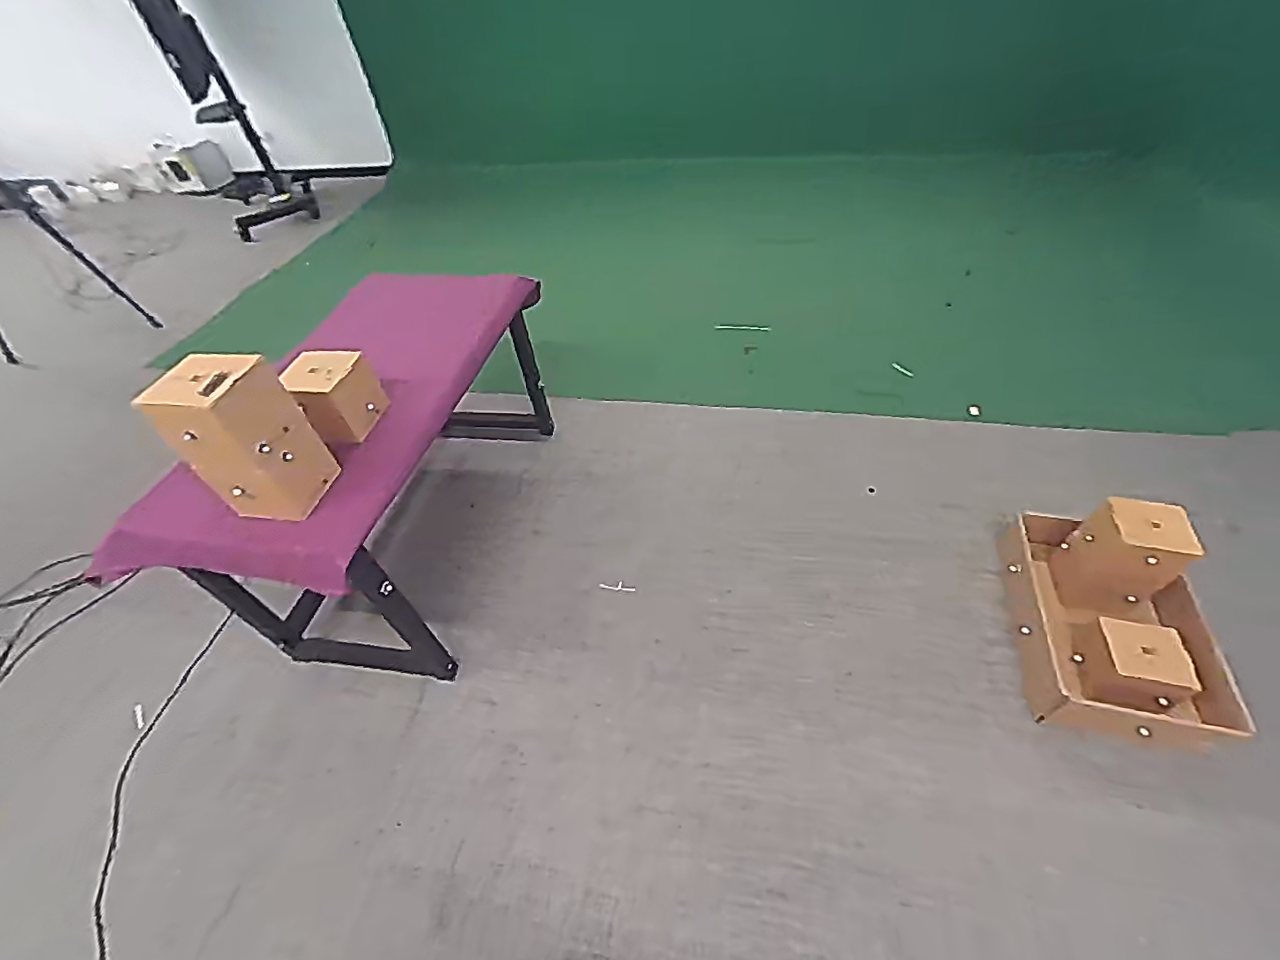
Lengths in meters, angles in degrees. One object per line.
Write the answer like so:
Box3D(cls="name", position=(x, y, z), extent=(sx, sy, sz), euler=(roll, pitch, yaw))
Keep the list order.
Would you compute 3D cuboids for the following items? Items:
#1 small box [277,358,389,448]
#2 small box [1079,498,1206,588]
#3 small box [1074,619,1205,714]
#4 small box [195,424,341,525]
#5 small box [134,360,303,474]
Box3D(cls="small box", position=(-0.792, -0.198, 1.396), extent=(0.179, 0.176, 0.168), euler=(3, 48, 10))
Box3D(cls="small box", position=(1.357, 0.175, 1.475), extent=(0.179, 0.176, 0.168), euler=(9, 50, 14))
Box3D(cls="small box", position=(1.290, 0.490, 1.413), extent=(0.179, 0.176, 0.168), euler=(8, 48, 14))
Box3D(cls="small box", position=(-0.832, -0.013, 1.229), extent=(0.179, 0.176, 0.168), euler=(3, 48, 10))
Box3D(cls="small box", position=(-0.847, -0.127, 1.110), extent=(0.179, 0.176, 0.168), euler=(3, 47, 11))
